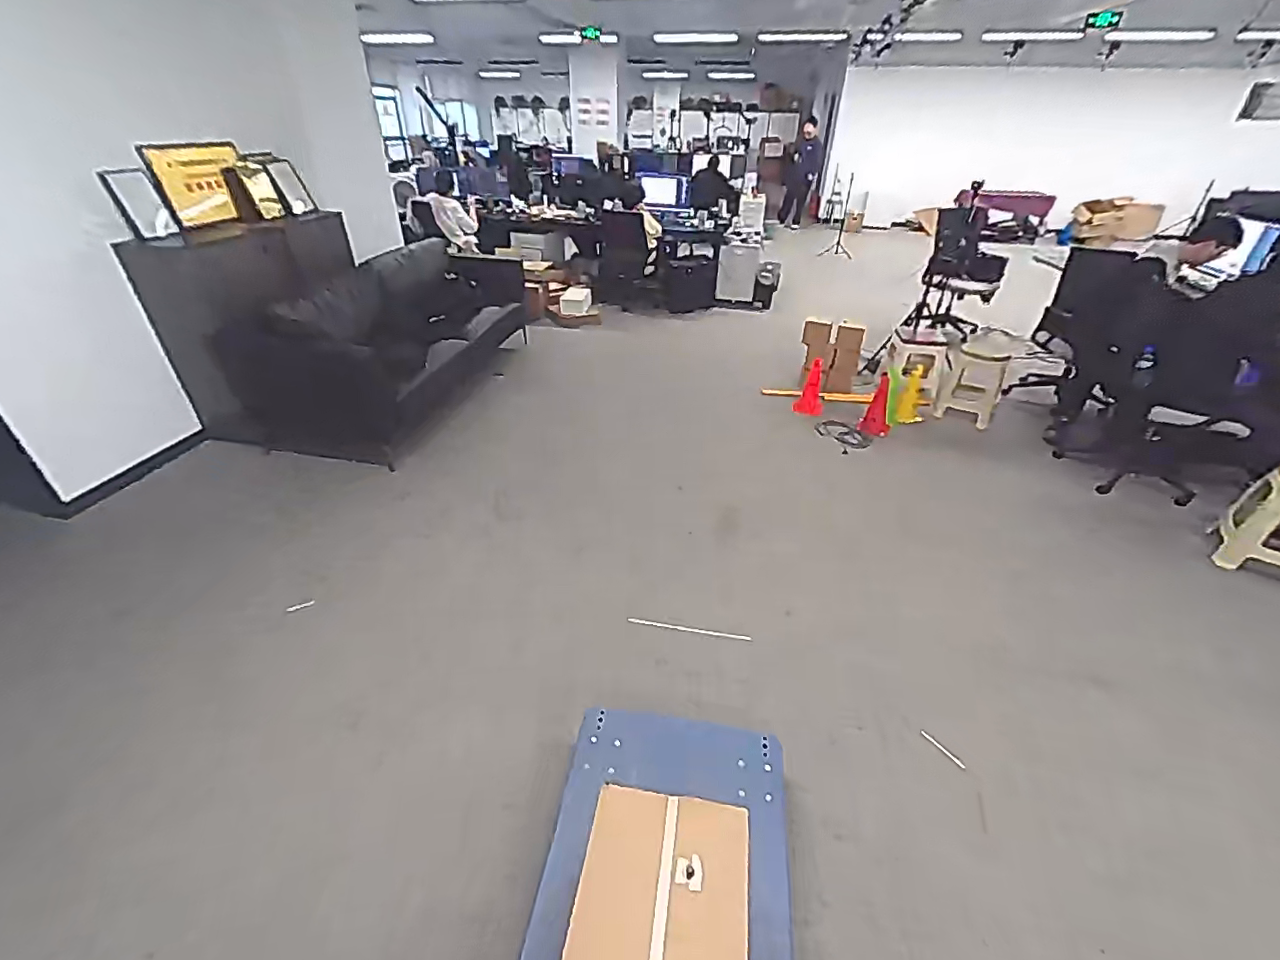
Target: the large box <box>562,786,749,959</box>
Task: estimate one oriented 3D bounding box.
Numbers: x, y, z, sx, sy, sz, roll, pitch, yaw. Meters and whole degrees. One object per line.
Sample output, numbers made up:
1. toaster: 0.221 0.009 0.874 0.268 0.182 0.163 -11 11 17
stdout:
1. large box: 0.038 0.897 1.048 0.320 0.320 0.408 6 32 8
